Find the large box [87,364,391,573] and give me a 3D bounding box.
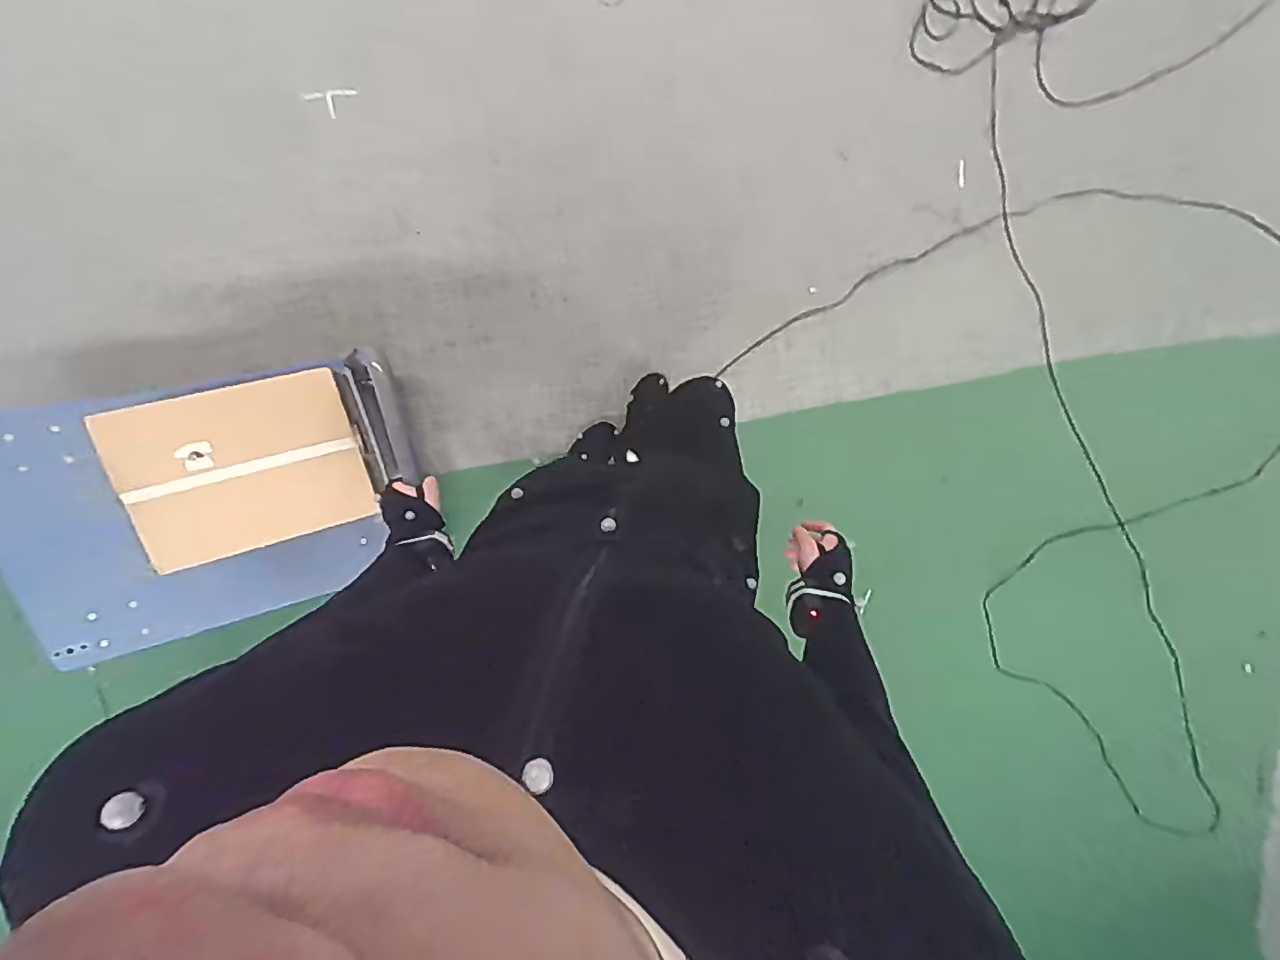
[{"bbox_3d":[-0.809,-0.049,1.177,0.408,0.320,0.320,-18,104,-17],"label":"large box"}]
